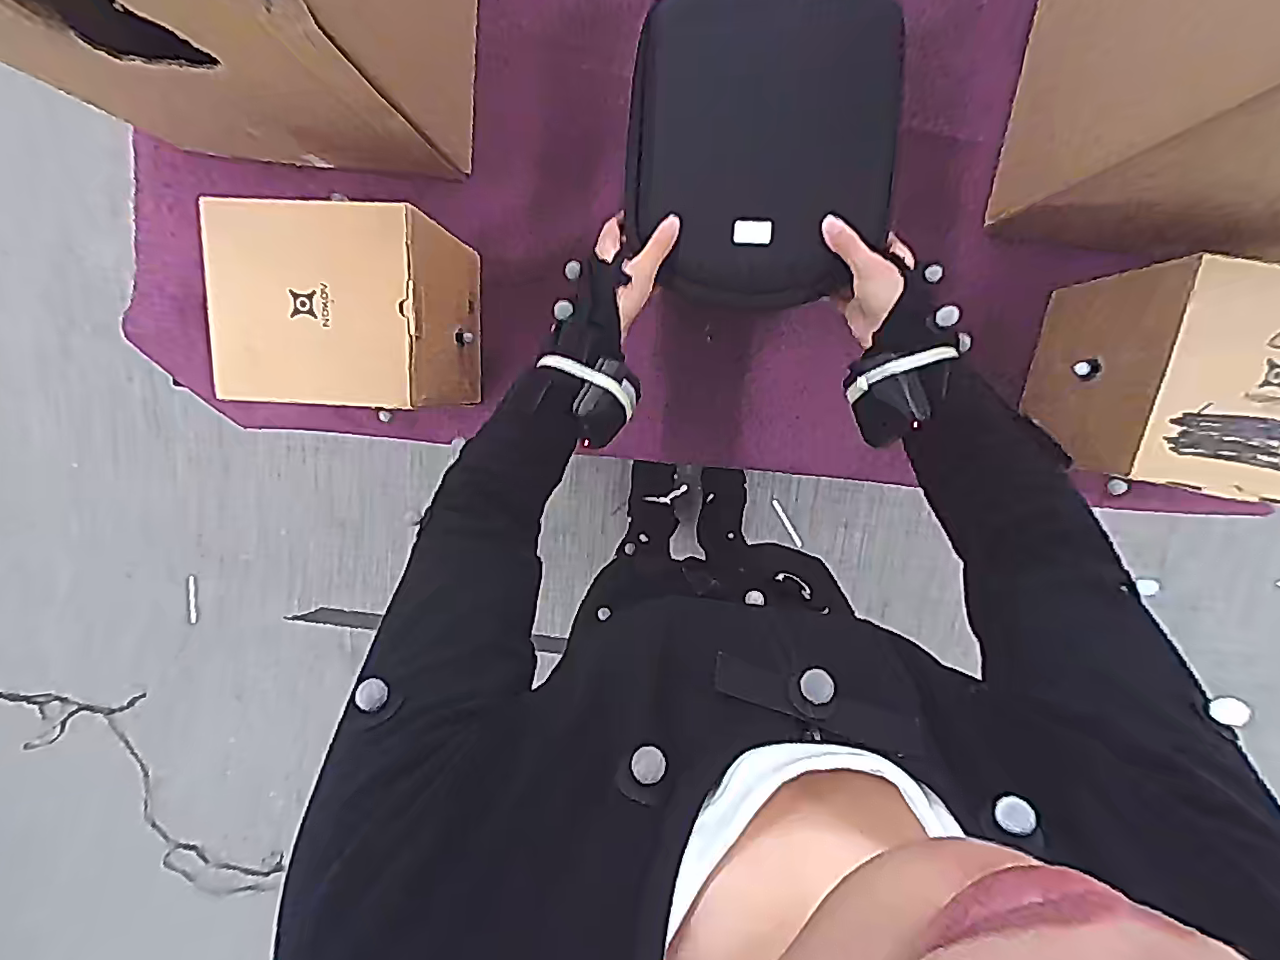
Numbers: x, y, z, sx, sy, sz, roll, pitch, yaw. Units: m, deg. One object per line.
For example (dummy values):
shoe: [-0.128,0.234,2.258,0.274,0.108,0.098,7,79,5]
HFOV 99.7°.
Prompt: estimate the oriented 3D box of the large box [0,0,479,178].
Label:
large box: [-0.314,-0.502,0.402,0.320,0.320,0.408,5,102,1]

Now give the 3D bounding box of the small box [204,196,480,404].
small box: [-0.272,-0.161,0.531,0.179,0.176,0.168,2,99,2]
